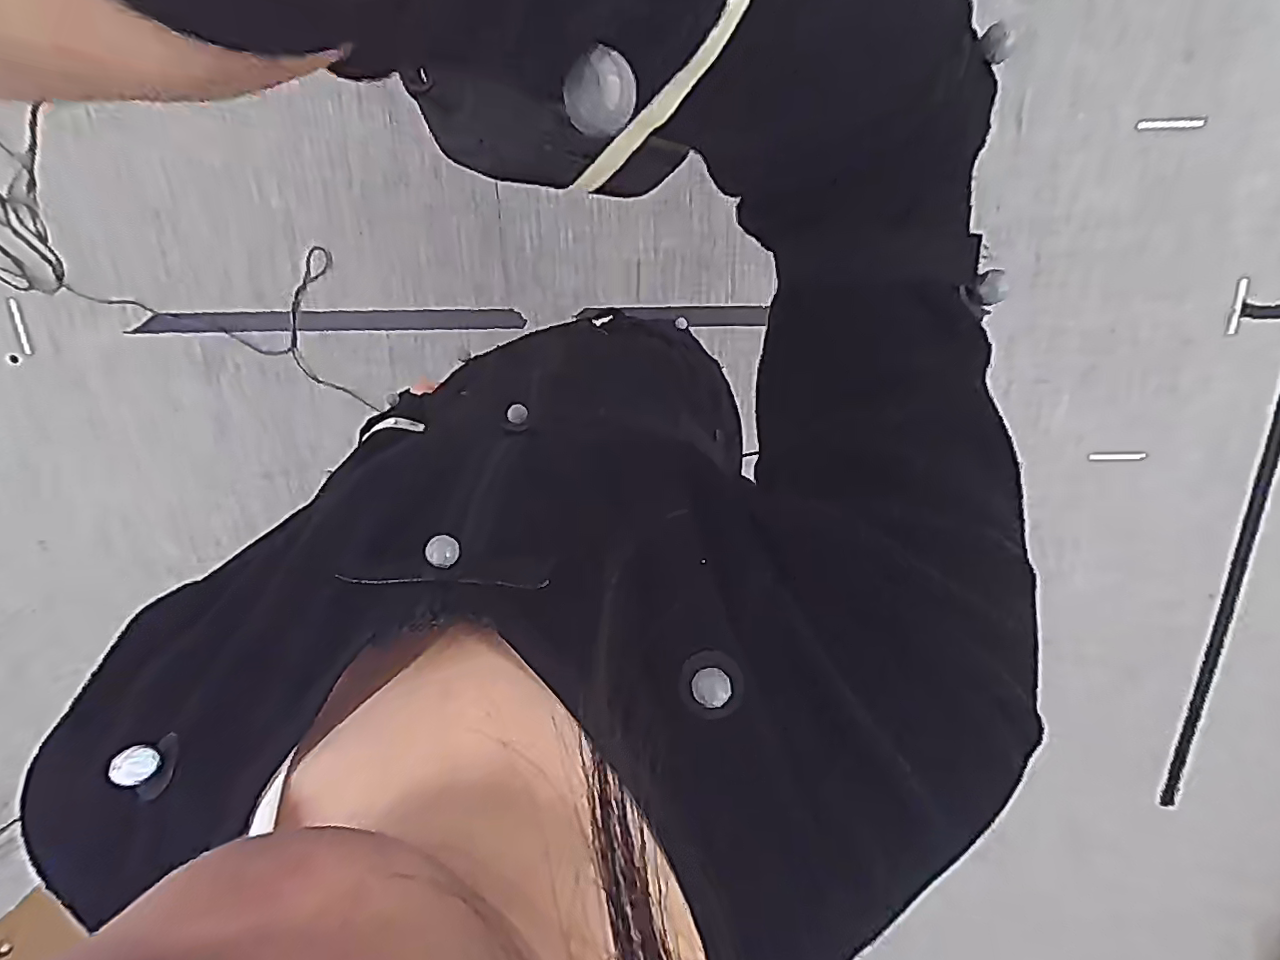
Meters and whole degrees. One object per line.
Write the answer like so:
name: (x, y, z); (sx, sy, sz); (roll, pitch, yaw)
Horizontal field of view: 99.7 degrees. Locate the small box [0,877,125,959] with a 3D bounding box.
small box: (-1.161, 0.901, 1.022); (0.168, 0.176, 0.179); (-40, 101, 10)
